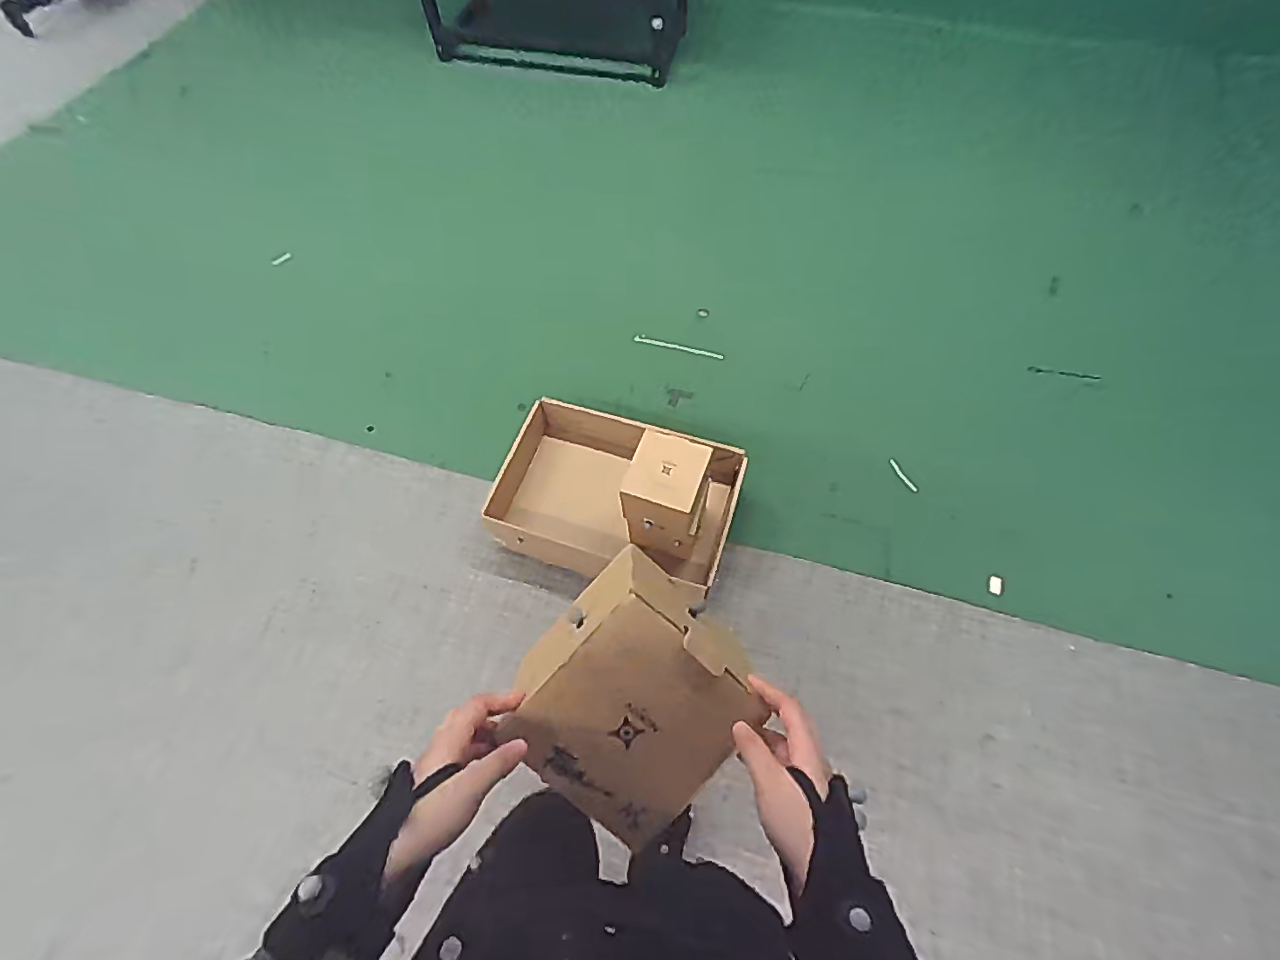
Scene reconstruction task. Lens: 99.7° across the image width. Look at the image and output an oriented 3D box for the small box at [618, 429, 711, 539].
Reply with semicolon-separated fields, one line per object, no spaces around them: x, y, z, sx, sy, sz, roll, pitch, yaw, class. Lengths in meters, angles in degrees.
0.058;0.012;1.269;0.168;0.176;0.179;17;66;11;small box
